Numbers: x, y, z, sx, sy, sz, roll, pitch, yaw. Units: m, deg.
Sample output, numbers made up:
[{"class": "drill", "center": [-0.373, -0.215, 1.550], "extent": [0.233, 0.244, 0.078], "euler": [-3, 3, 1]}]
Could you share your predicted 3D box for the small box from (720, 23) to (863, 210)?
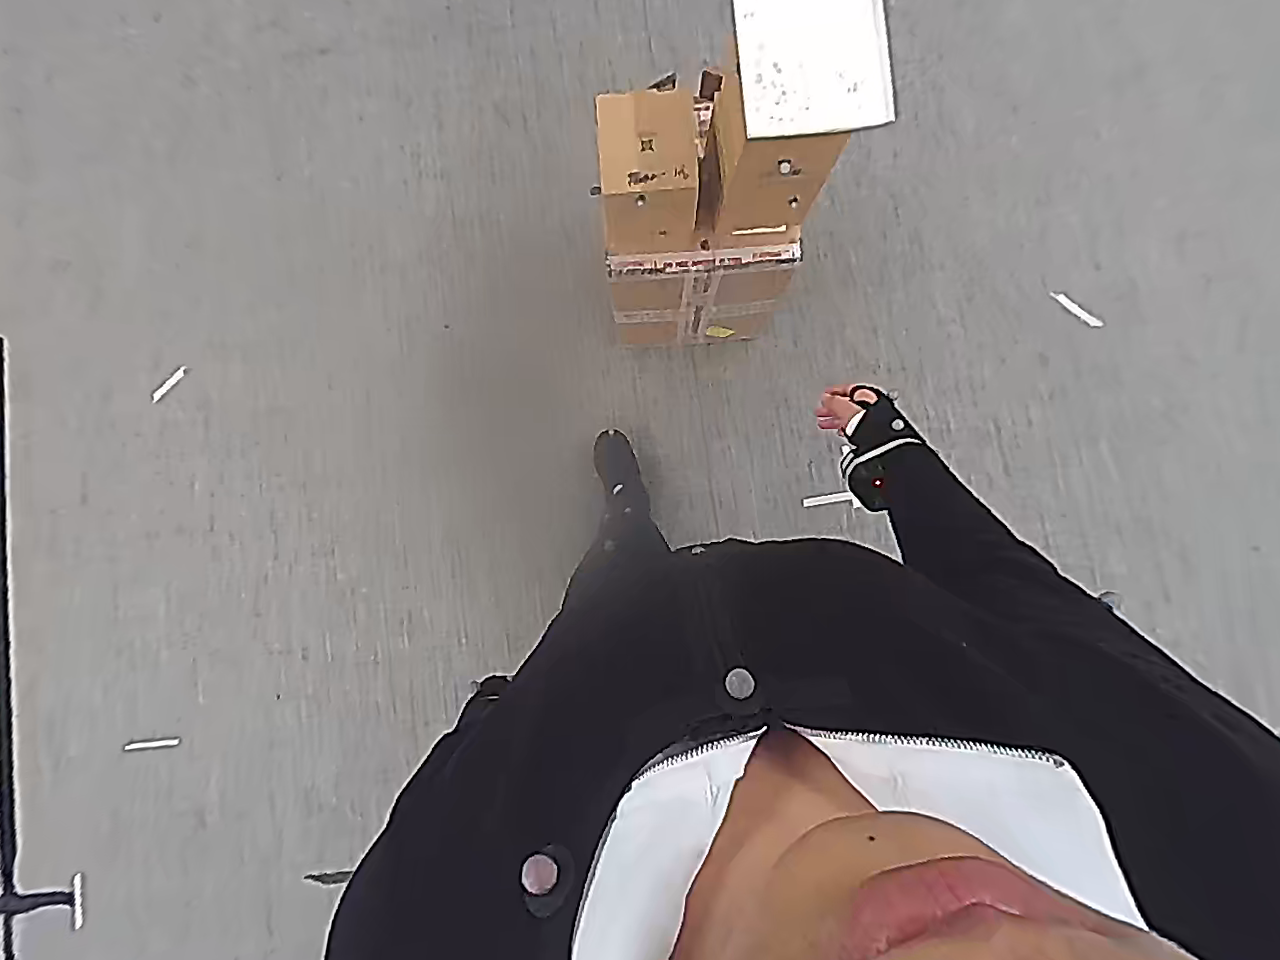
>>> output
[{"class": "small box", "center": [0.222, -0.551, 0.838], "extent": [0.168, 0.176, 0.179], "euler": [-5, 87, -1]}]
